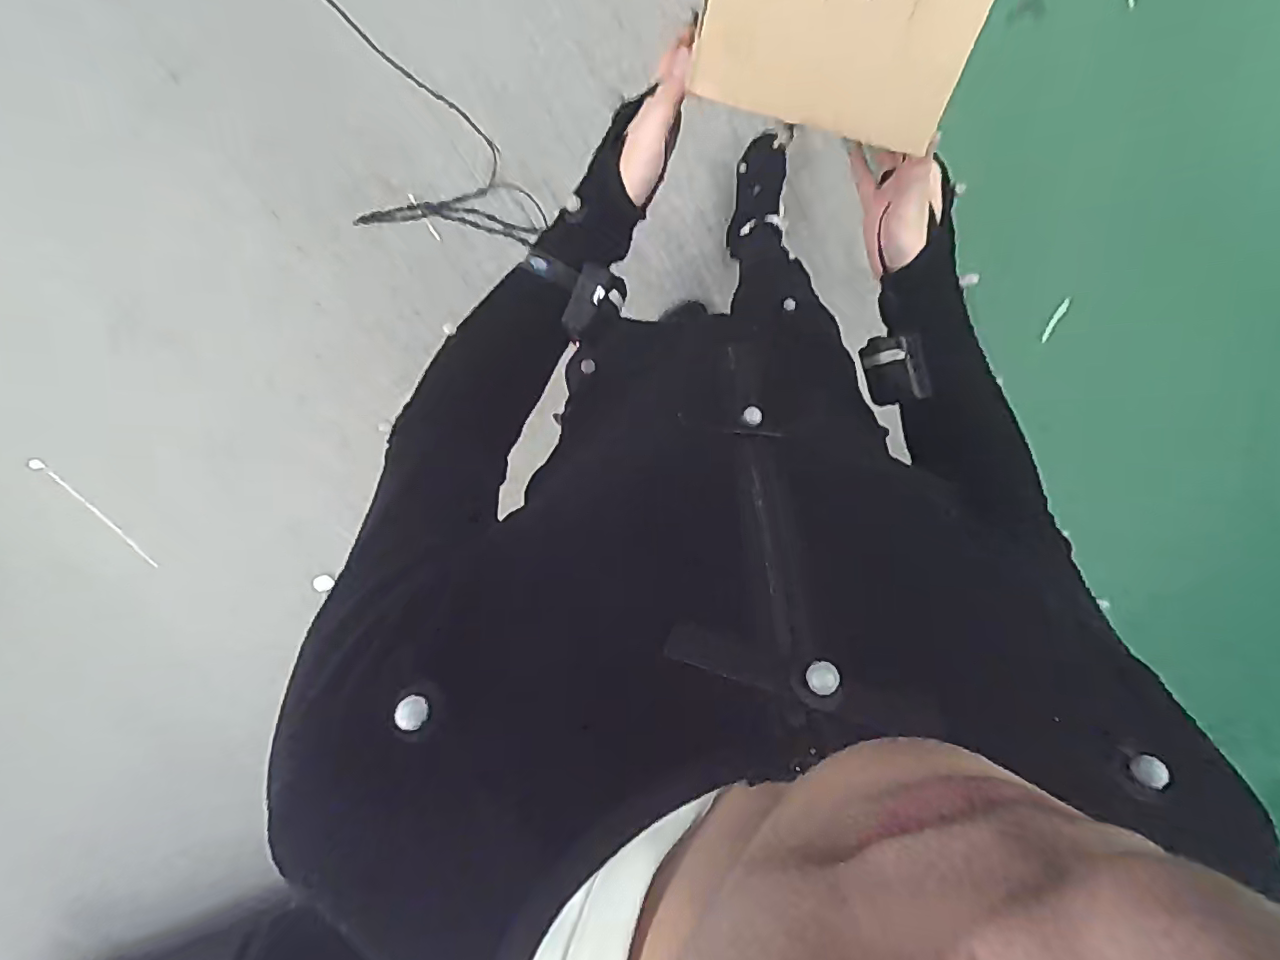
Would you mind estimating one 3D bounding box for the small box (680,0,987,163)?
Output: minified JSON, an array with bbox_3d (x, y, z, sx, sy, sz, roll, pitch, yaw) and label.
[{"bbox_3d":[0.134,-0.352,0.398,0.179,0.176,0.168,12,125,-4],"label":"small box"}]
